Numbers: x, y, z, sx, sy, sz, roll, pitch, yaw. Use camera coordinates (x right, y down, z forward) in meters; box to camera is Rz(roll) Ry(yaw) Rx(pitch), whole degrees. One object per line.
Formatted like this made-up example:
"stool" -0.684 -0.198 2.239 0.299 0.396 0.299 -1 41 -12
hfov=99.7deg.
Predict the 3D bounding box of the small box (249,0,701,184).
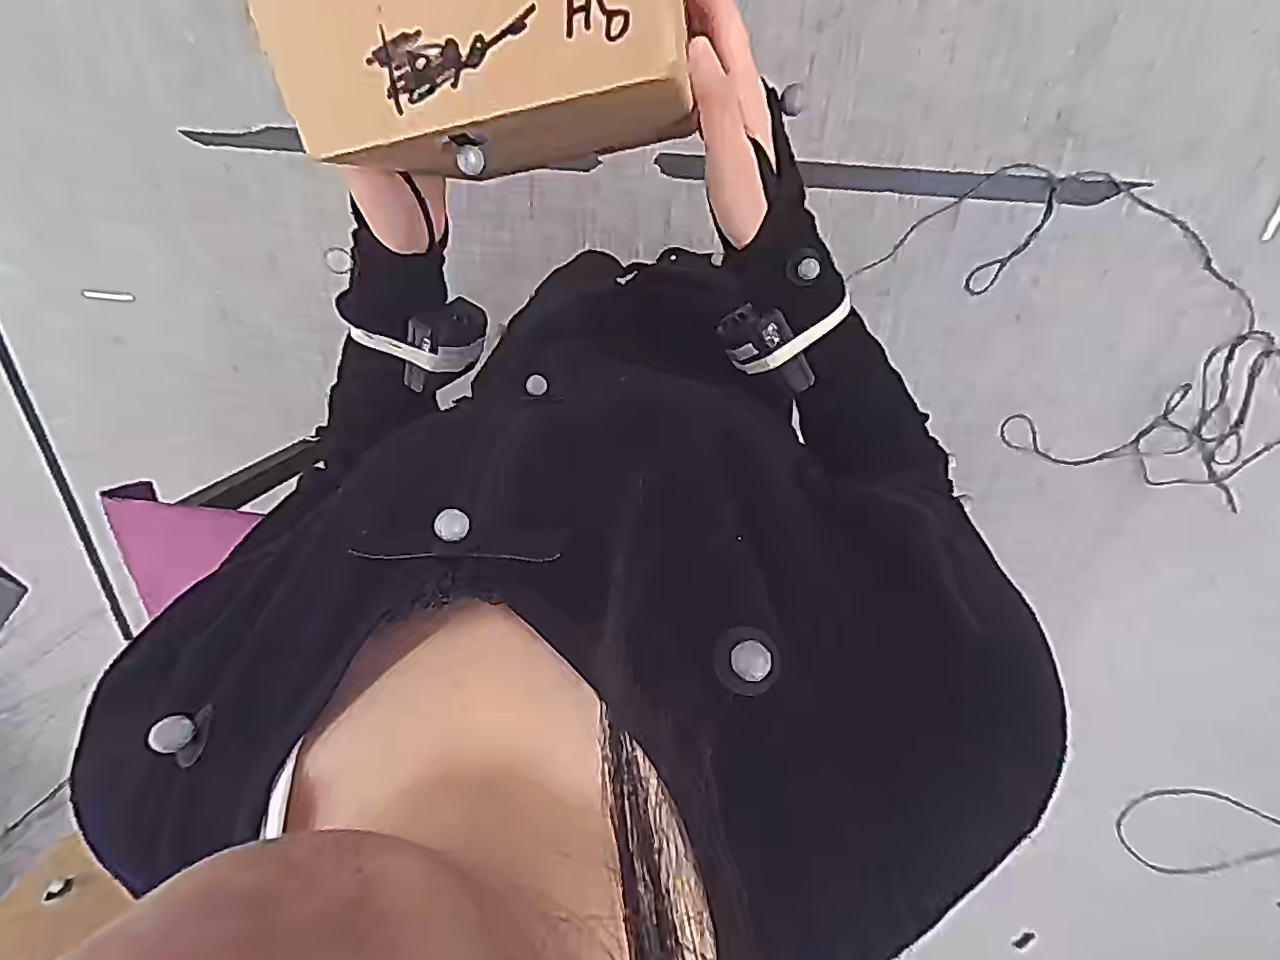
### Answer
"small box" -0.064 -0.255 0.254 0.168 0.176 0.179 -4 114 12

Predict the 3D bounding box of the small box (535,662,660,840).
"small box" -0.062 0.425 0.864 0.168 0.176 0.179 8 114 5
